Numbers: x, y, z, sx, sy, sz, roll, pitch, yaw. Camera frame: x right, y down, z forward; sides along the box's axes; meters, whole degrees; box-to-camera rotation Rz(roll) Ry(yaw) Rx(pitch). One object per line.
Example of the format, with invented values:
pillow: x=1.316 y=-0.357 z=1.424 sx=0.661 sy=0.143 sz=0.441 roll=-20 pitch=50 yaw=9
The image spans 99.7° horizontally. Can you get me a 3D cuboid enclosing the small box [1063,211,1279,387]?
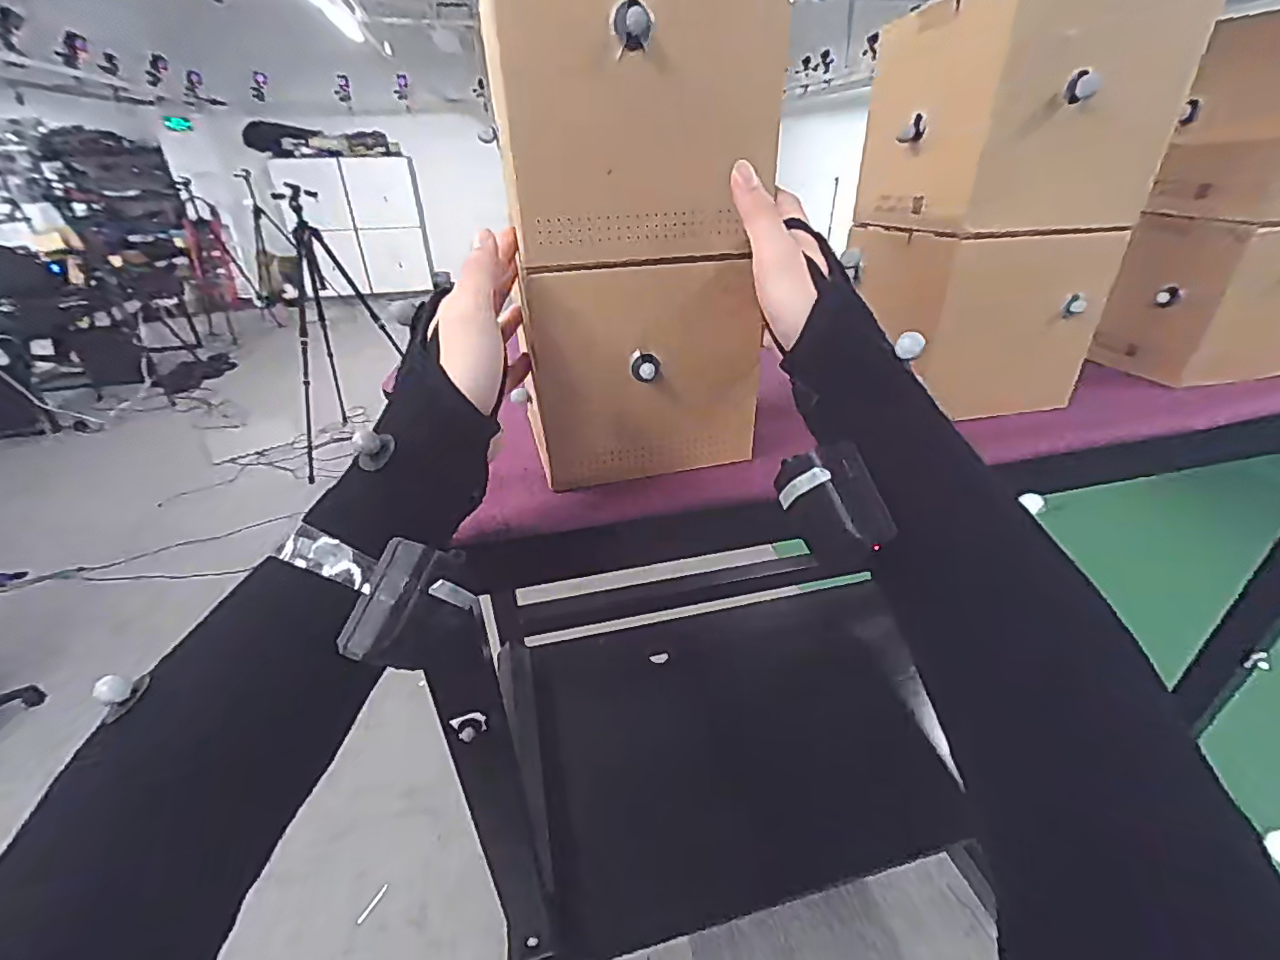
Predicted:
small box: x=0.637 y=-0.214 z=0.622 sx=0.179 sy=0.176 sz=0.168 roll=-7 pitch=32 yaw=-9

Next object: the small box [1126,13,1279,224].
small box: x=0.632 y=-0.353 z=0.539 sx=0.179 sy=0.176 sz=0.168 roll=-7 pitch=32 yaw=-8

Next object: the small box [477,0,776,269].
small box: x=-0.014 y=-0.253 z=0.393 sx=0.179 sy=0.176 sz=0.168 roll=-8 pitch=31 yaw=-12

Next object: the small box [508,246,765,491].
small box: x=-0.011 y=-0.109 z=0.473 sx=0.179 sy=0.176 sz=0.168 roll=-10 pitch=30 yaw=-13

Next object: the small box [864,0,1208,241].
small box: x=0.322 y=-0.313 z=0.481 sx=0.179 sy=0.176 sz=0.168 roll=-8 pitch=30 yaw=-9
